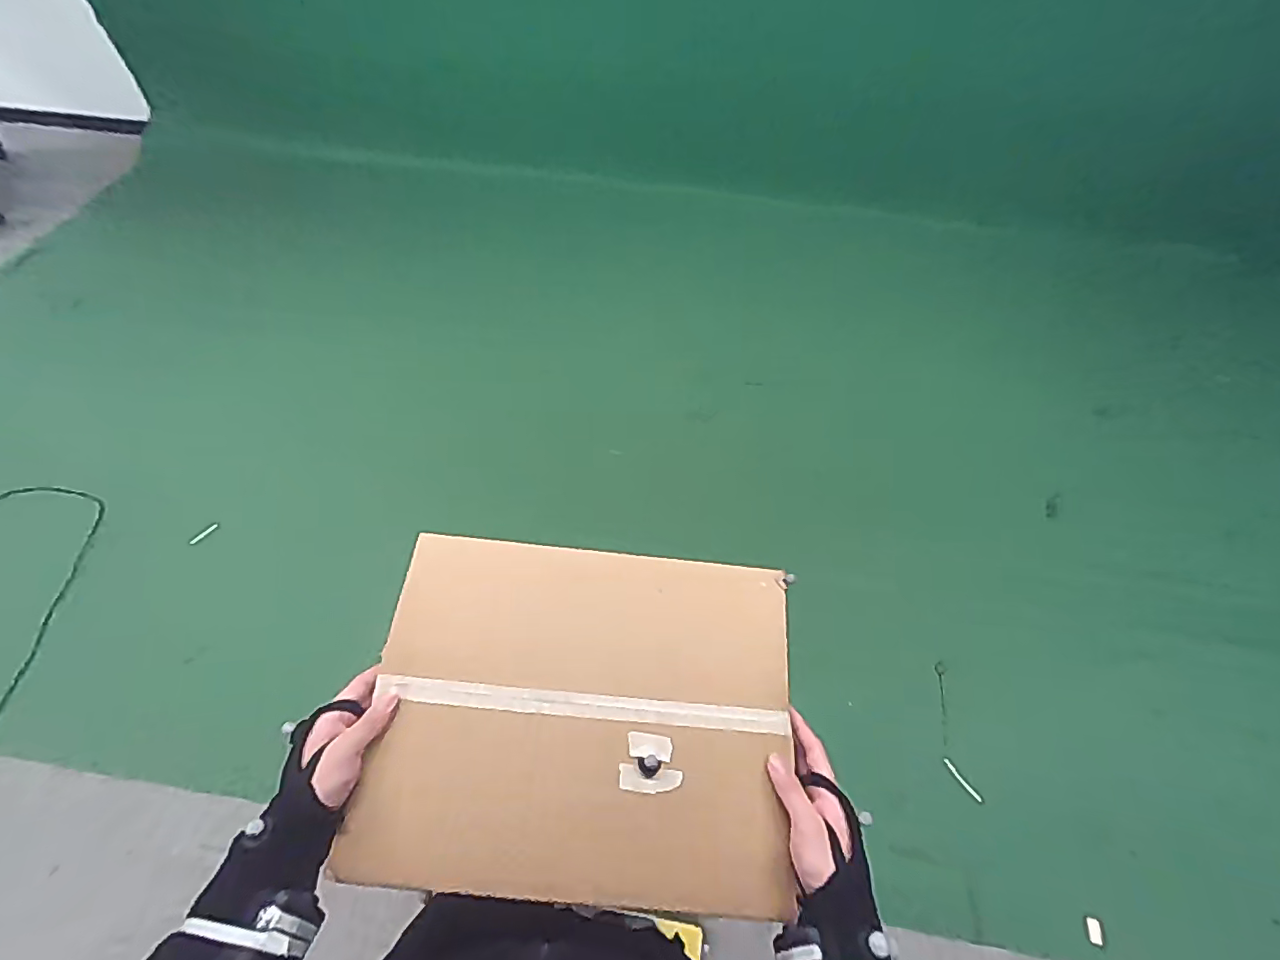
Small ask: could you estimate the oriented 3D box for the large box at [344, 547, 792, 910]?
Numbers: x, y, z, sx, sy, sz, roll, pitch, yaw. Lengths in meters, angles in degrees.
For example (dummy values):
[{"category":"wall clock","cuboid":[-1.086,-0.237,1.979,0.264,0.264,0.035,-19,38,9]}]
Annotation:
[{"category":"large box","cuboid":[-0.064,0.295,0.672,0.408,0.320,0.320,6,64,-2]}]
